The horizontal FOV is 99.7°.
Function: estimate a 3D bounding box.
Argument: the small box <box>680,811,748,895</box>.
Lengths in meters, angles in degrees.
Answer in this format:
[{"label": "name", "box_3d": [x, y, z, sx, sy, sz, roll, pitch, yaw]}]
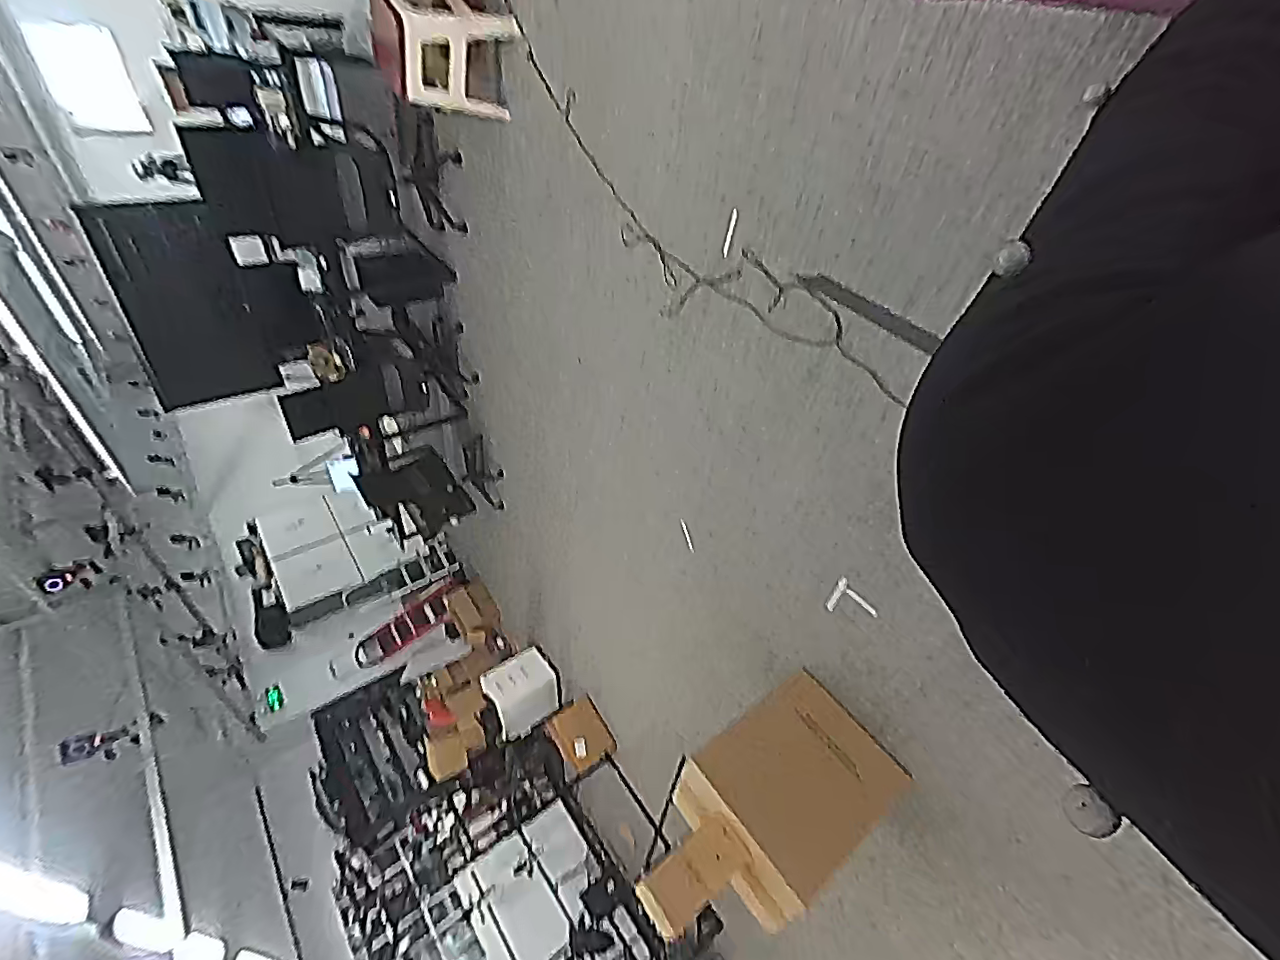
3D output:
[{"label": "small box", "box_3d": [0.233, 1.243, 1.796, 0.168, 0.176, 0.179, 45, 143, 30]}]

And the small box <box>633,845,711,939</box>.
[{"label": "small box", "box_3d": [0.102, 1.304, 1.715, 0.168, 0.176, 0.179, 46, 143, 27]}]
